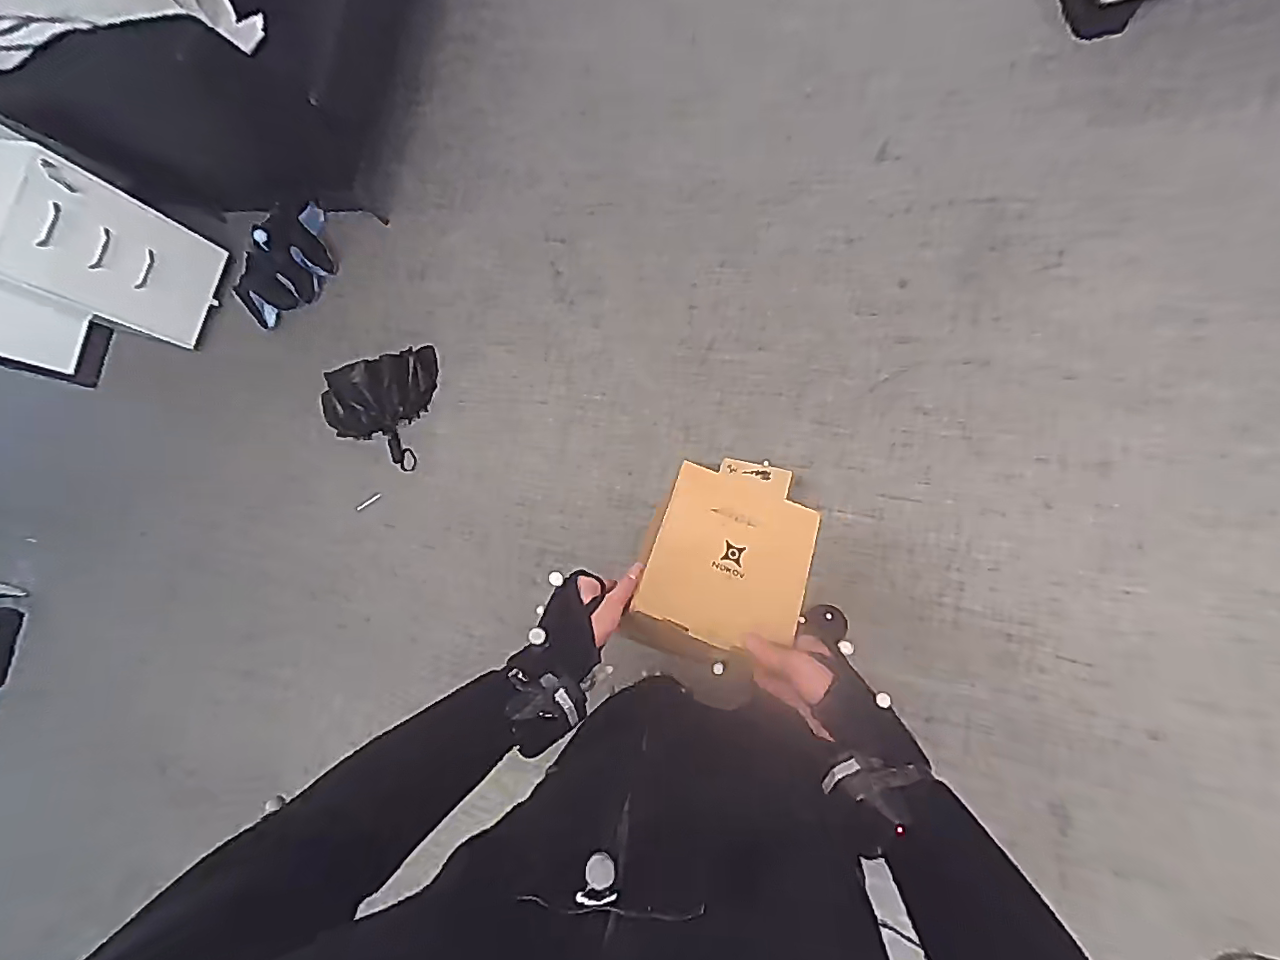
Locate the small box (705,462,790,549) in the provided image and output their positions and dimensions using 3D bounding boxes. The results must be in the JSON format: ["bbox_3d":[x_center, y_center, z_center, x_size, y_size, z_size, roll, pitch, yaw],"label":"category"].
[{"bbox_3d":[0.271,0.067,1.329,0.168,0.176,0.179,12,85,18],"label":"small box"}]
